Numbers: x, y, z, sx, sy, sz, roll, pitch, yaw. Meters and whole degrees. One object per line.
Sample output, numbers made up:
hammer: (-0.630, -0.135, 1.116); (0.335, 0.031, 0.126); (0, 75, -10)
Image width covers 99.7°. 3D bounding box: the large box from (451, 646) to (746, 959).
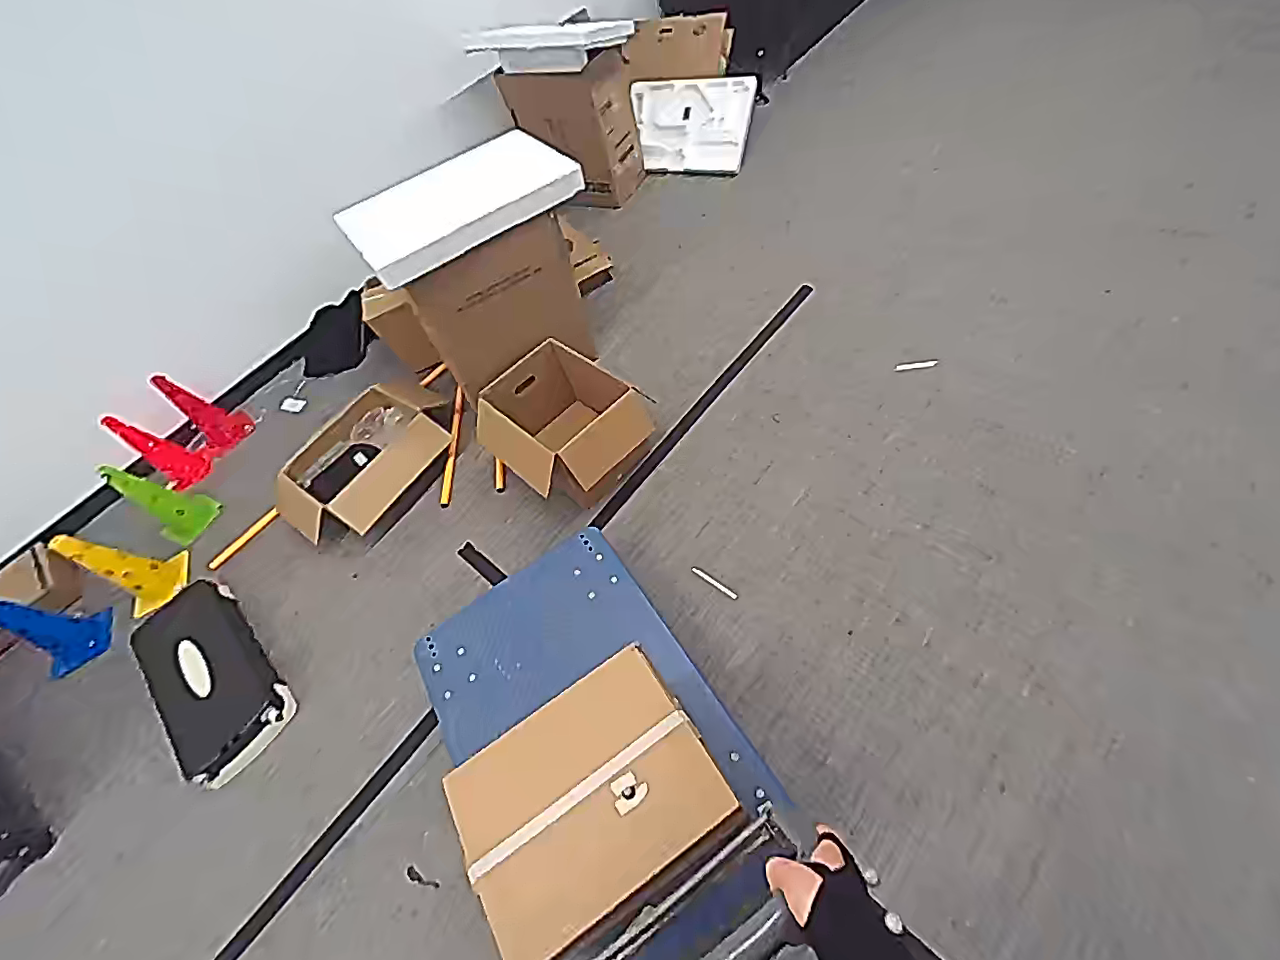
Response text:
large box: (-0.059, 0.594, 1.000); (0.408, 0.320, 0.320); (-34, 55, -10)
